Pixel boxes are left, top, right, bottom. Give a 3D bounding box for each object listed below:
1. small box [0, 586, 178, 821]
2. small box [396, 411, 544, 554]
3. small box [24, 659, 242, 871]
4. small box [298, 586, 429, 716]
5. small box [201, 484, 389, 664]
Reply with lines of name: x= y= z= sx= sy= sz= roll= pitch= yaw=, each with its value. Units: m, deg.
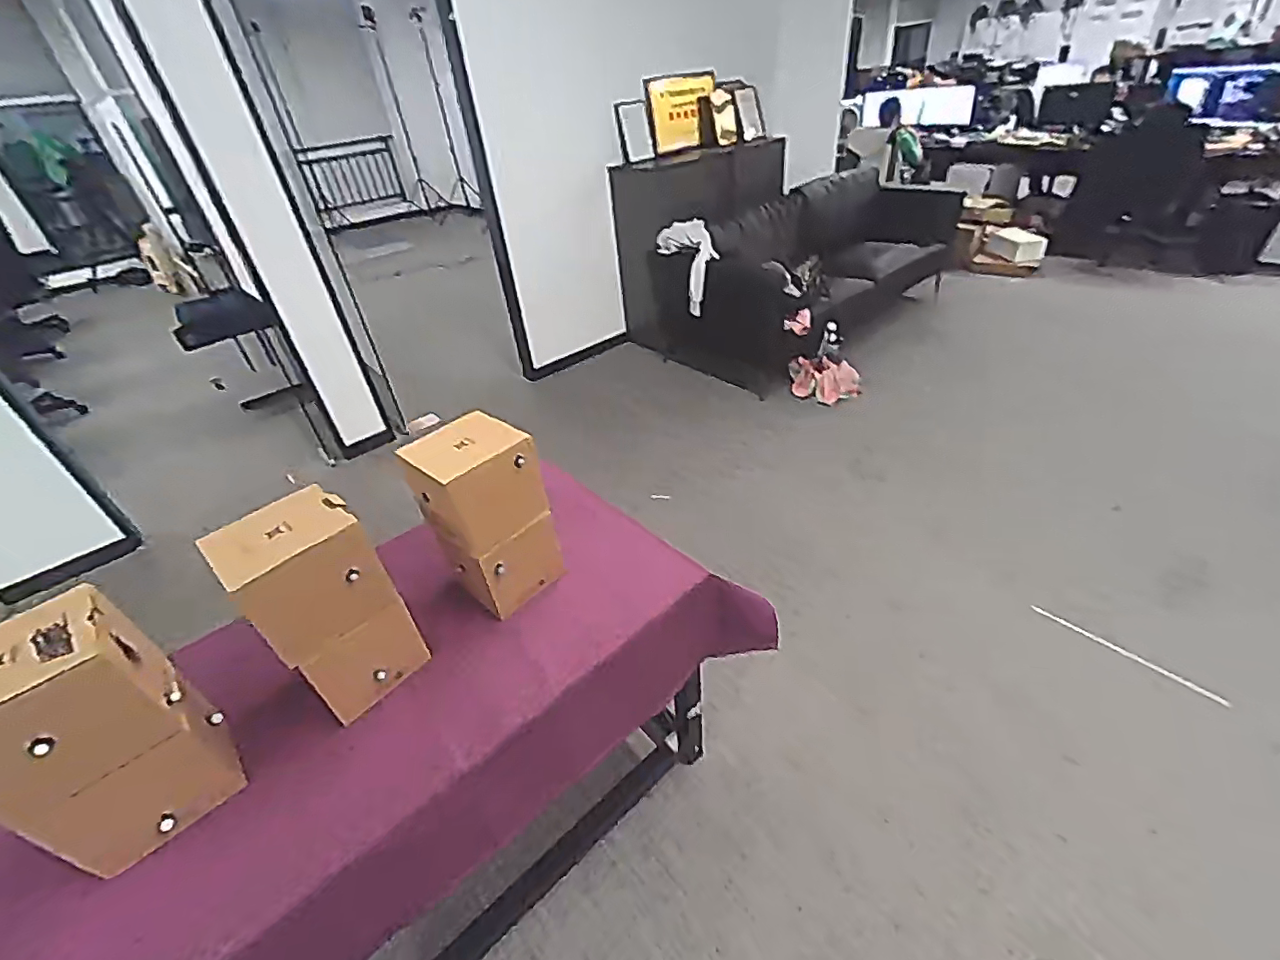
small box: x=-0.730 y=0.276 z=0.682 sx=0.179 sy=0.176 sz=0.168 roll=-34 pitch=45 yaw=-30
small box: x=-0.297 y=0.003 z=0.978 sx=0.168 sy=0.176 sz=0.179 roll=25 pitch=47 yaw=35
small box: x=-0.715 y=0.407 z=0.781 sx=0.179 sy=0.176 sz=0.168 roll=-33 pitch=44 yaw=-31
small box: x=-0.500 y=0.267 z=0.934 sx=0.179 sy=0.176 sz=0.168 roll=25 pitch=48 yaw=34
small box: x=-0.514 y=0.140 z=0.832 sx=0.168 sy=0.176 sz=0.179 roll=26 pitch=48 yaw=36
